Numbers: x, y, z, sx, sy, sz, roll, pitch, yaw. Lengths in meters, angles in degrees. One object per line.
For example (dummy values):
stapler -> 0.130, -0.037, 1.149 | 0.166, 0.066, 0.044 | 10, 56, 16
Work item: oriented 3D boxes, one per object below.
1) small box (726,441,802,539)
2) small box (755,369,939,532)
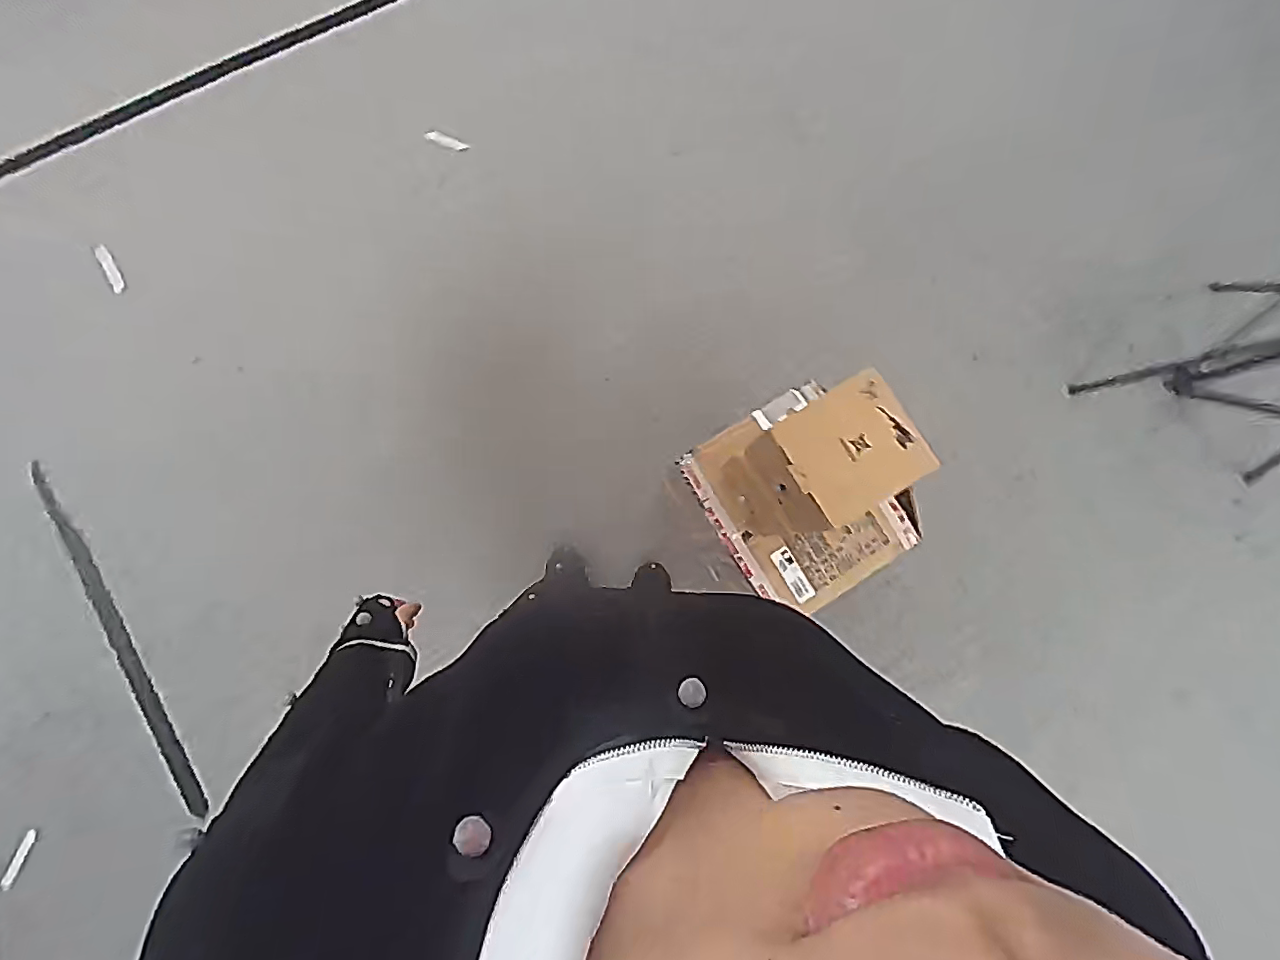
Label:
small box -> 0.274, -0.009, 0.966 | 0.179, 0.176, 0.168 | -32, 84, -3
small box -> 0.288, -0.031, 0.804 | 0.179, 0.176, 0.168 | -30, 84, -3
